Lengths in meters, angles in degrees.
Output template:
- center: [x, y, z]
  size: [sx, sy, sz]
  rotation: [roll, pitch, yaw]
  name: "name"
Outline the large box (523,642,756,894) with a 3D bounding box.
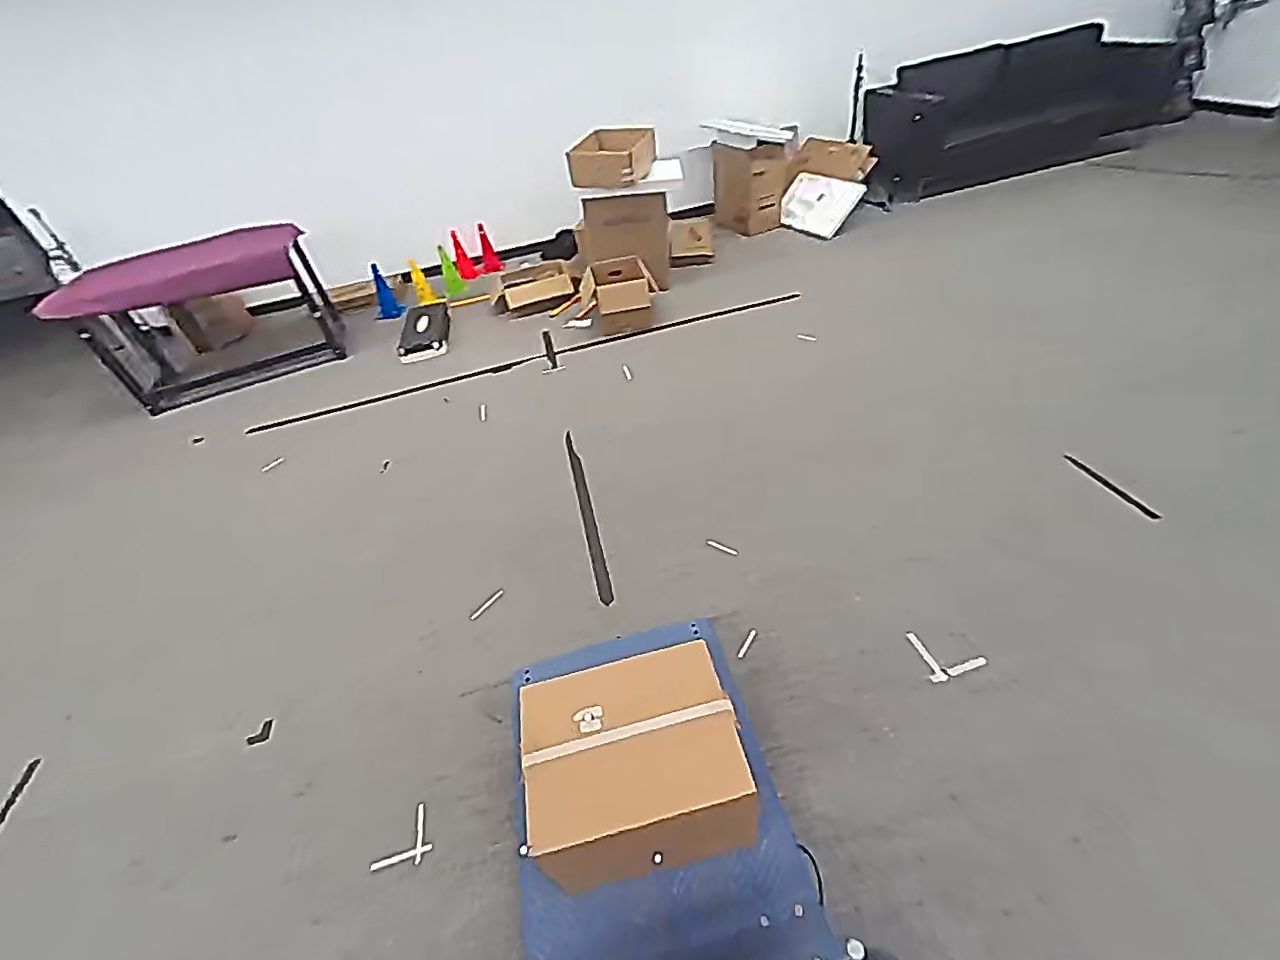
- center: [0.000, 0.604, 1.141]
  size: [0.408, 0.320, 0.320]
  rotation: [-15, 41, -4]
  name: "large box"
